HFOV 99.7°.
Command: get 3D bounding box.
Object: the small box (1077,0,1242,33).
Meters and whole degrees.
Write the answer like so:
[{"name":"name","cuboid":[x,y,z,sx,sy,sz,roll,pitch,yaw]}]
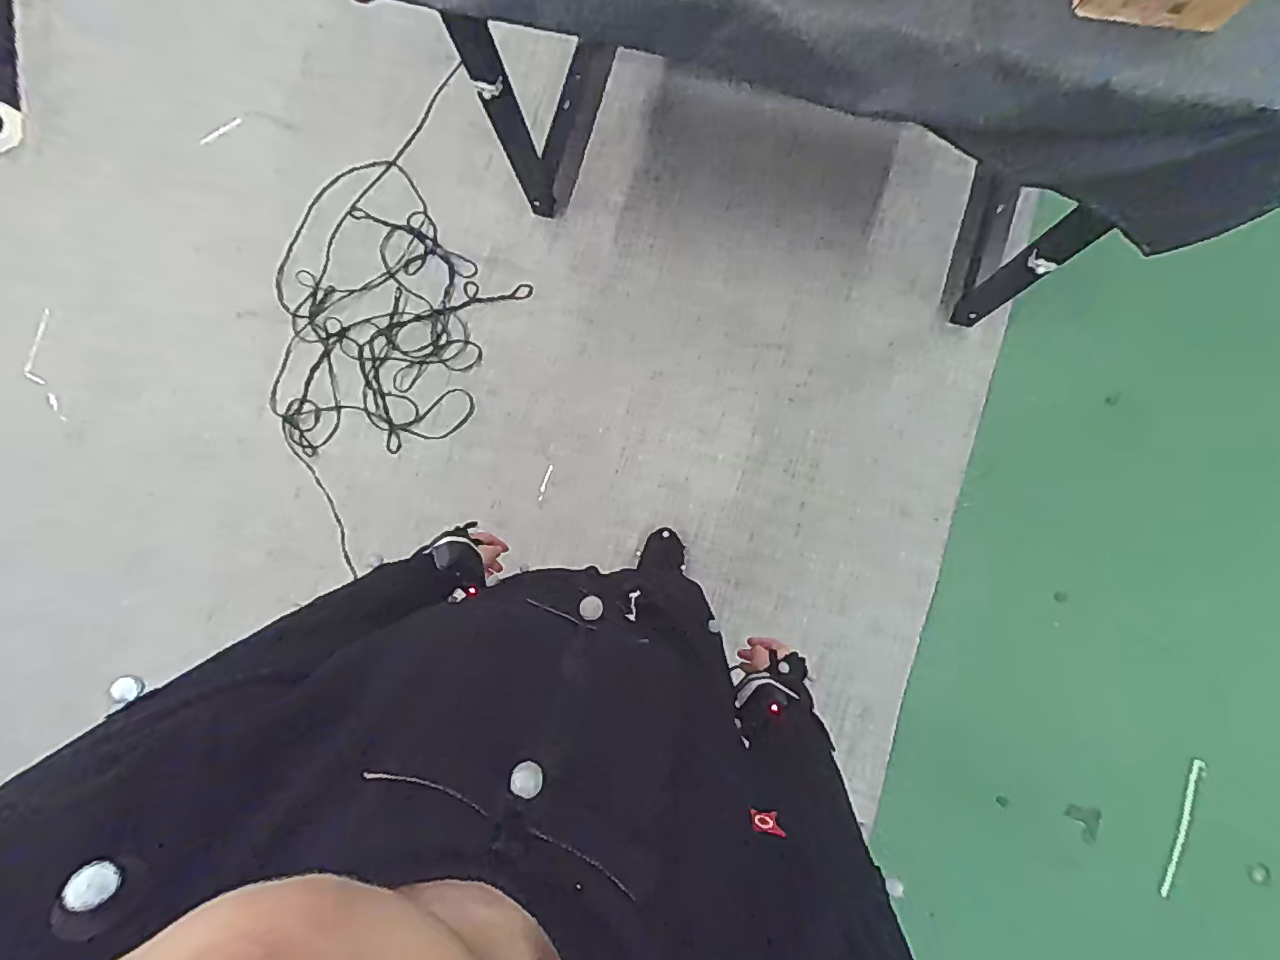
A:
[{"name":"small box","cuboid":[0.618,-0.643,0.580,0.168,0.176,0.179,12,86,5]}]
